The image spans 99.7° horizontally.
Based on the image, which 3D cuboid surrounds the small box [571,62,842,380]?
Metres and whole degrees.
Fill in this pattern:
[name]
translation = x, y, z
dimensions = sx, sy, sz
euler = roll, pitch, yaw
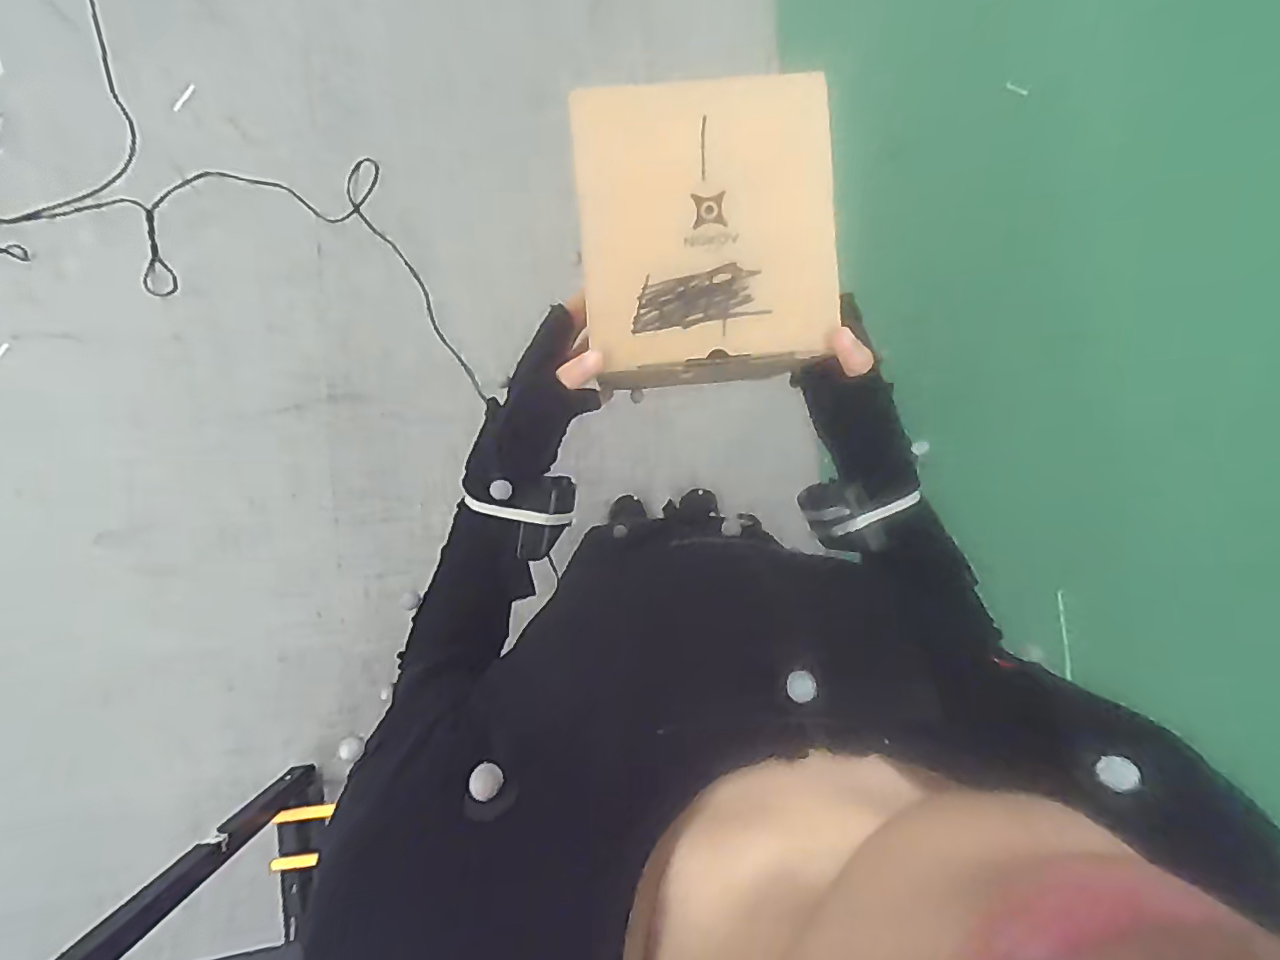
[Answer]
[small box]
translation = 0.042, -0.174, 0.421
dimensions = 0.168, 0.176, 0.179
euler = -5, 94, -2
